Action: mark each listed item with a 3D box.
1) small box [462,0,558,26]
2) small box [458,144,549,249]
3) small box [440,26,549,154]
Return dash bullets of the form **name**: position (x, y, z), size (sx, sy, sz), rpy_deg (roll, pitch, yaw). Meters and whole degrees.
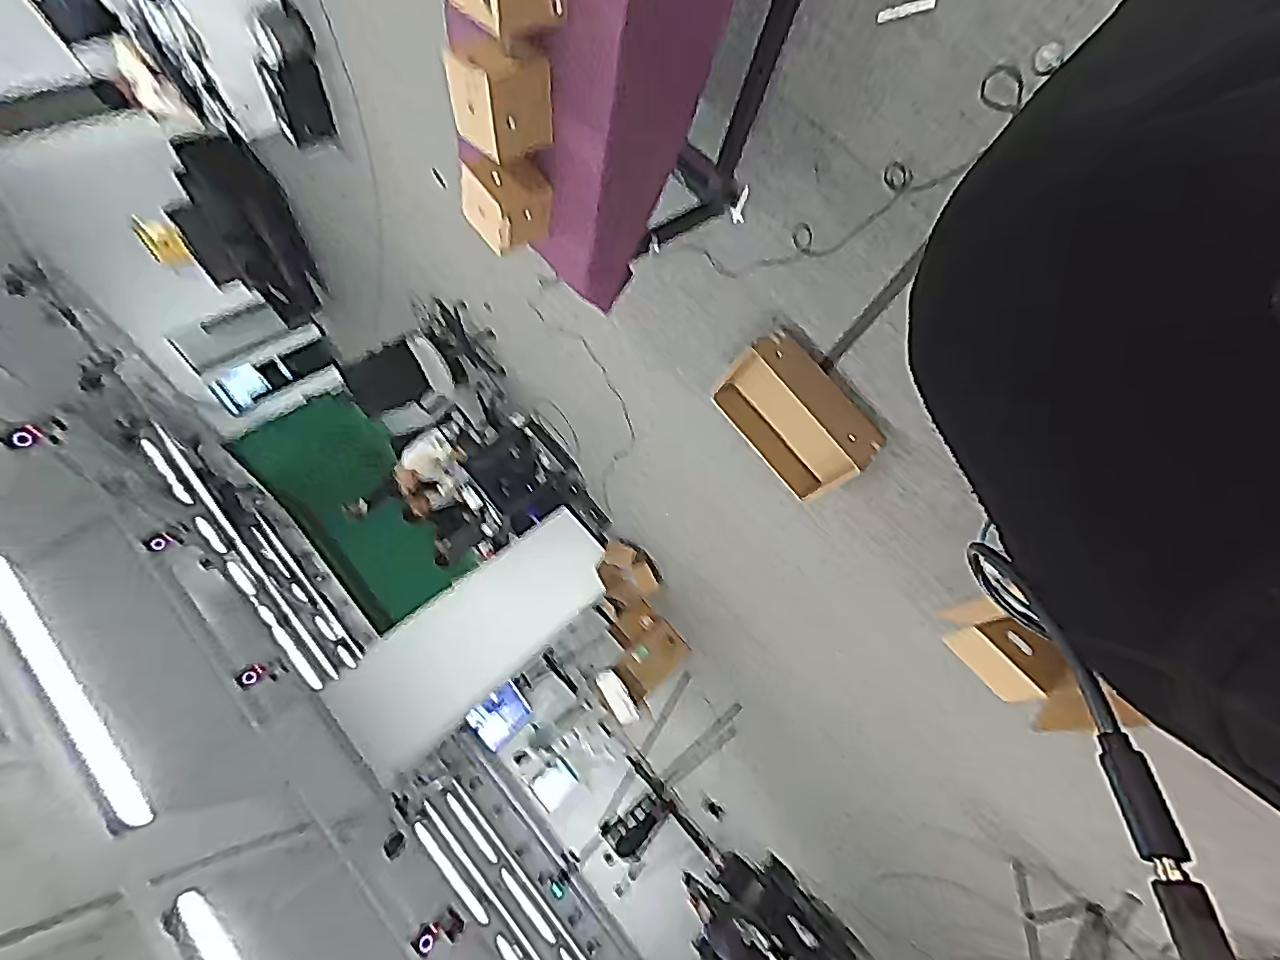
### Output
- **small box**: position (-0.255, -0.991, 0.999), size (0.179, 0.176, 0.168), rpy_deg (46, 154, 15)
- **small box**: position (-0.367, -0.774, 1.464), size (0.179, 0.176, 0.168), rpy_deg (50, 154, 7)
- **small box**: position (-0.322, -0.893, 1.236), size (0.168, 0.176, 0.179), rpy_deg (42, 152, 19)
